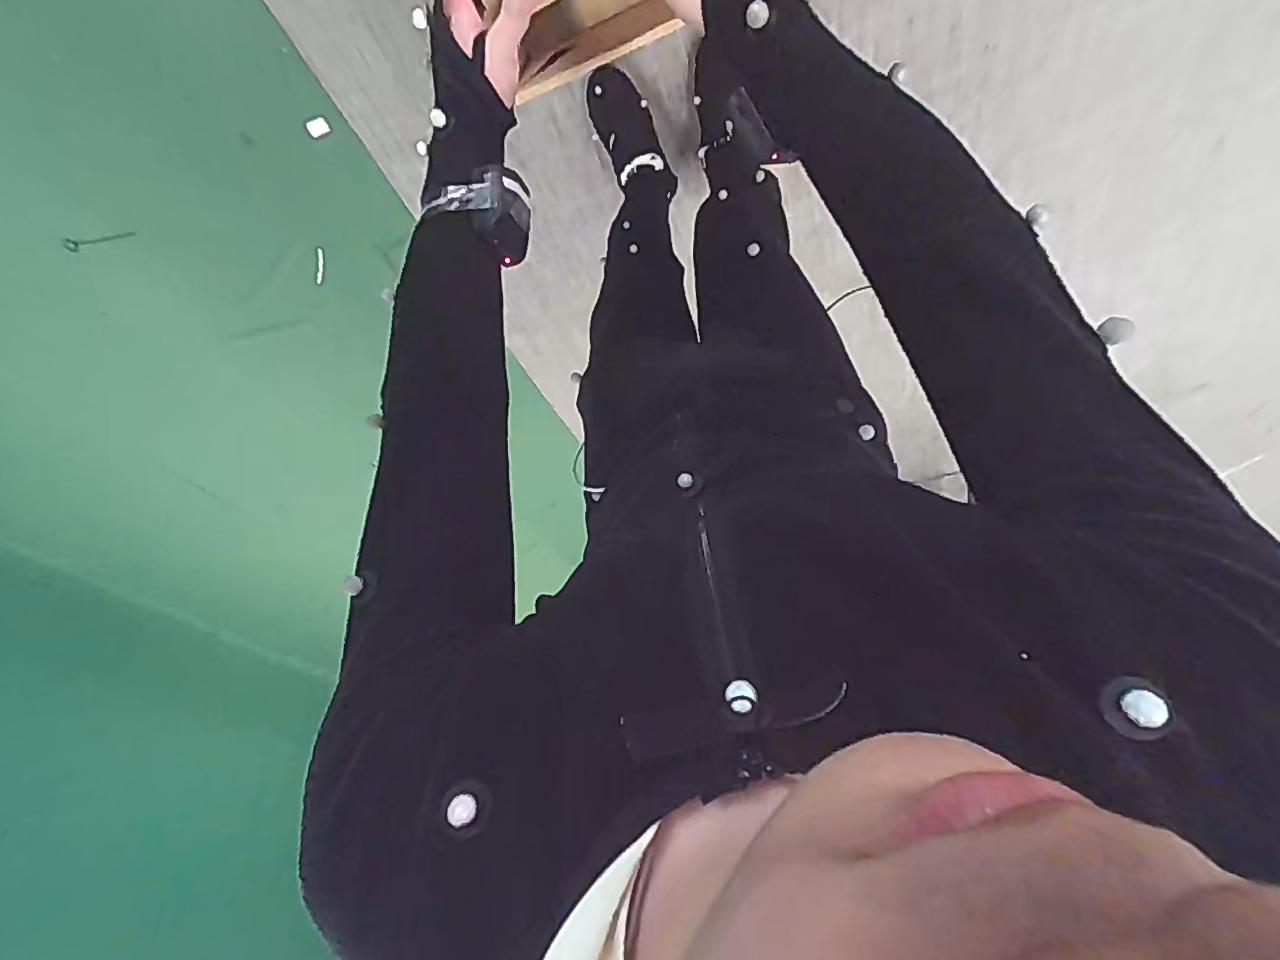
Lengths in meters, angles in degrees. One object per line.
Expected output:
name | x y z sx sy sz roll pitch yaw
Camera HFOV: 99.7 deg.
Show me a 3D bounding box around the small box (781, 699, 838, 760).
small box | 0.610 0.899 1.946 0.168 0.176 0.179 -12 139 17
